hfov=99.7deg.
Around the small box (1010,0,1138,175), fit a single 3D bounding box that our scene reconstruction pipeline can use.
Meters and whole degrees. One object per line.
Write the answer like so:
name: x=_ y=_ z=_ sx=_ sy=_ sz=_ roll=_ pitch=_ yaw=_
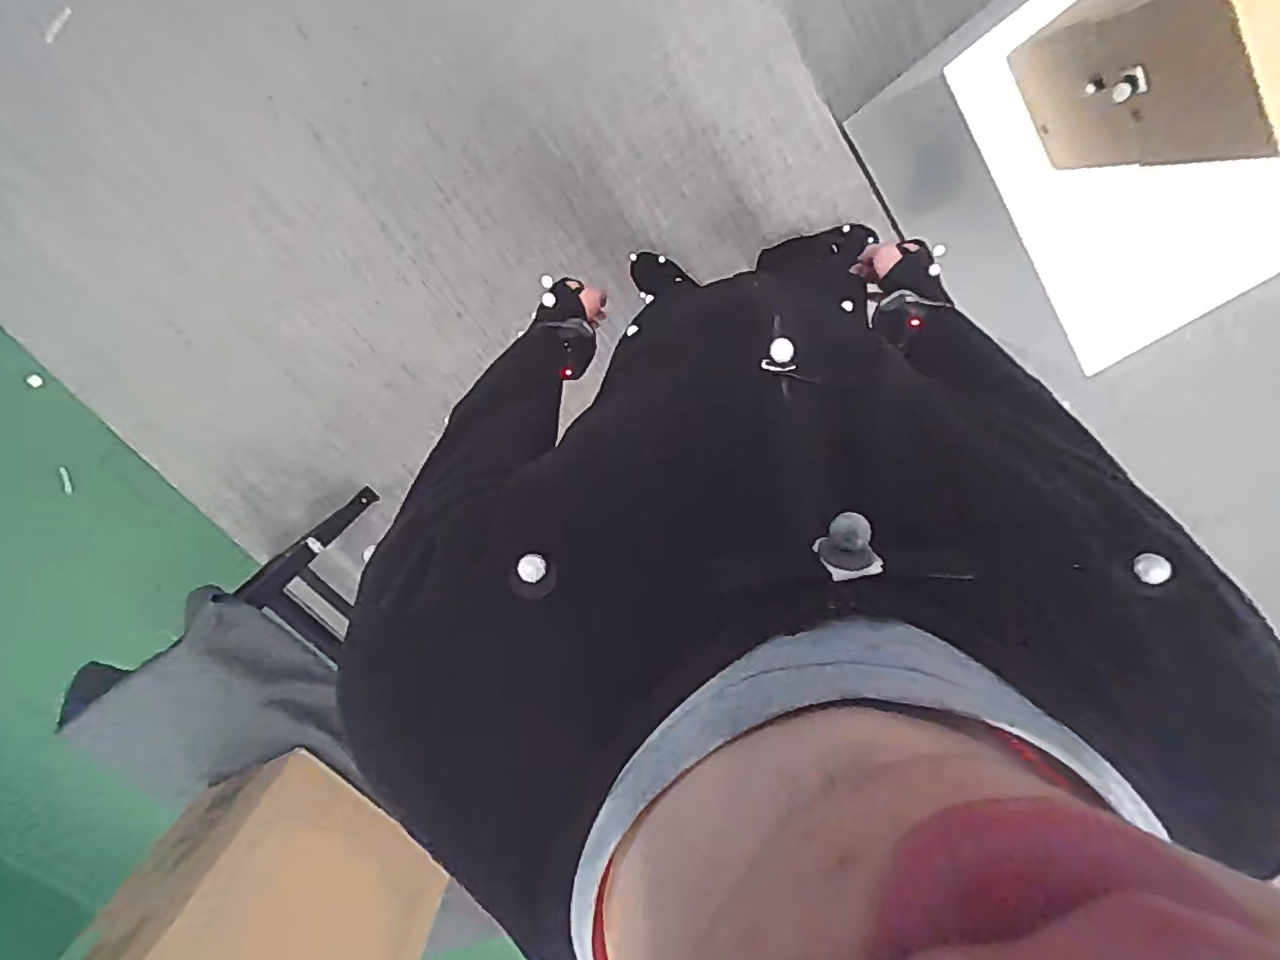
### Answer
small box: x=0.571 y=-0.474 z=0.606 sx=0.179 sy=0.176 sz=0.168 roll=-33 pitch=109 yaw=20
